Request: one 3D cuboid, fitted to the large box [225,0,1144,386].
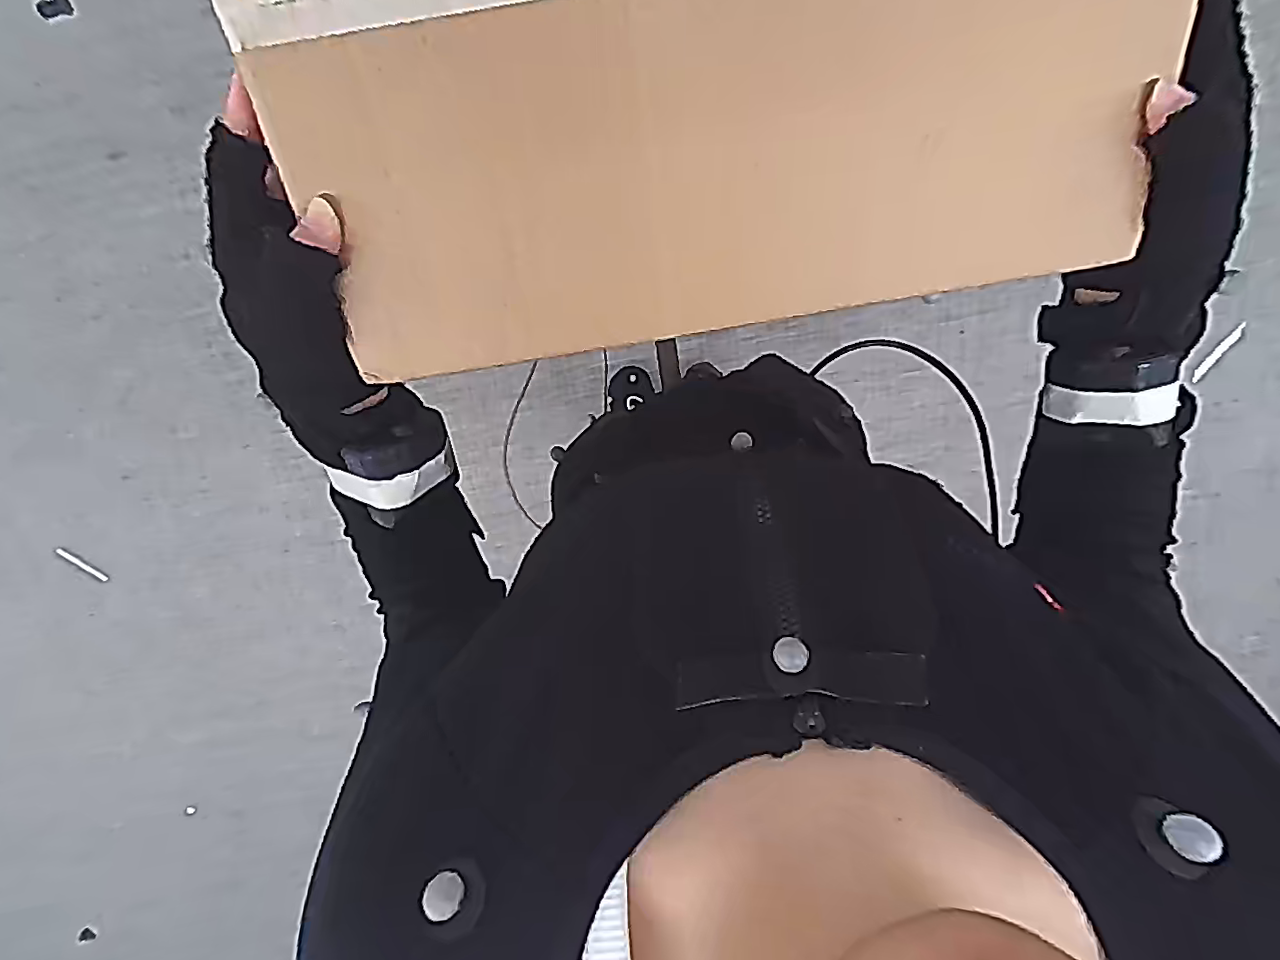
[{"bbox_3d":[0.018,-0.286,0.360,0.408,0.320,0.320,-9,116,2],"label":"large box"}]
